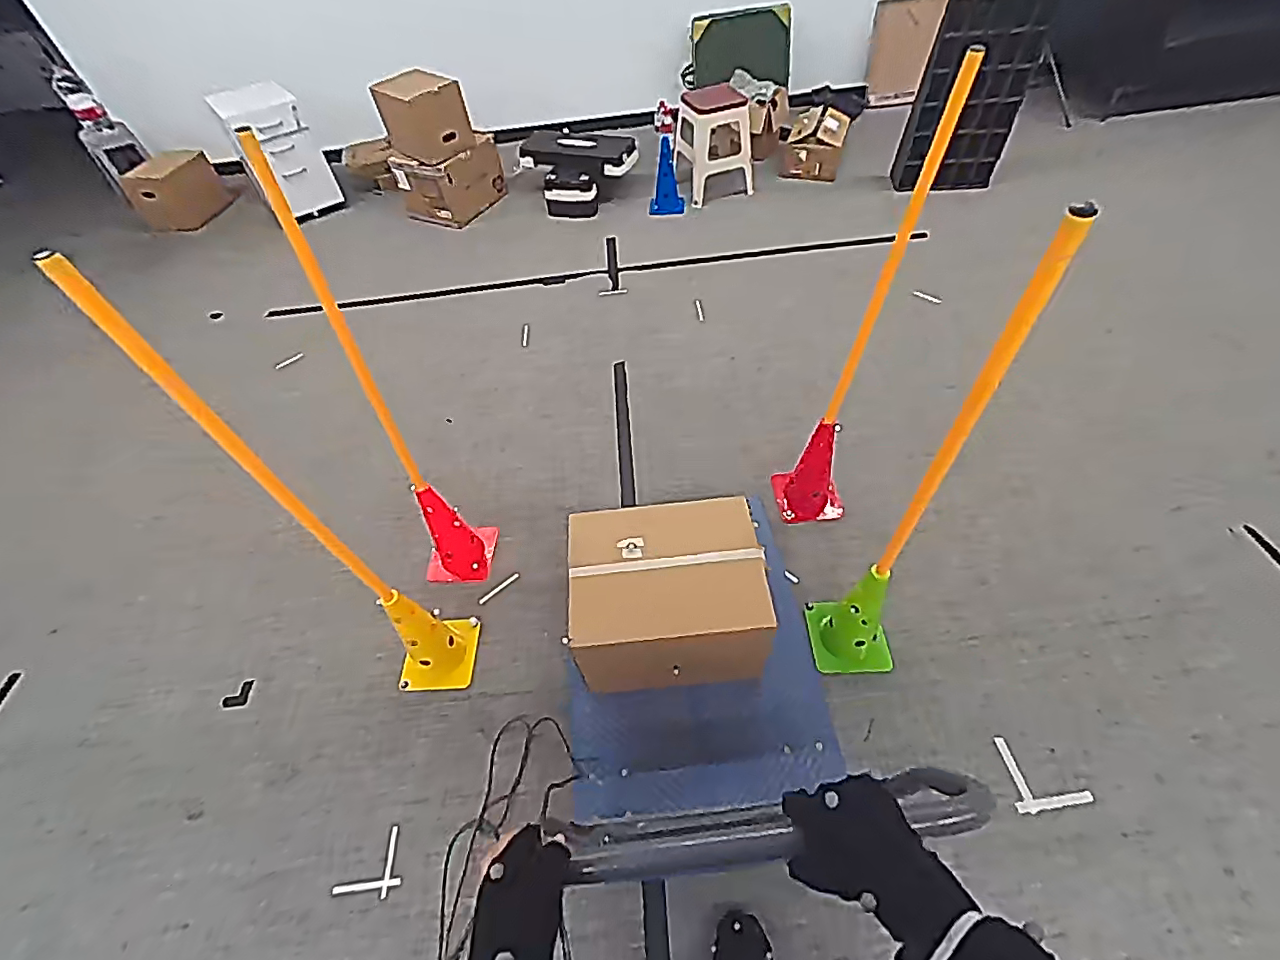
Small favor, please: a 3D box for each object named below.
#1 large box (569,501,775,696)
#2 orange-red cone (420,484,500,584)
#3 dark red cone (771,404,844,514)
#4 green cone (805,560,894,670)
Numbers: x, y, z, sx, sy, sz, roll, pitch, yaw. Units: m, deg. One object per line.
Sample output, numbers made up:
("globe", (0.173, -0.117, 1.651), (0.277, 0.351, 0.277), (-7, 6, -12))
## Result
("large box", (0.066, 0.281, 1.247), (0.408, 0.320, 0.320), (-7, 51, 1))
("orange-red cone", (-0.577, 0.136, 1.618), (0.198, 0.360, 0.199), (0, 50, 5))
("dark red cone", (0.537, -0.075, 1.643), (0.201, 0.394, 0.202), (-5, 51, -1))
("green cone", (0.558, 0.313, 1.352), (0.202, 0.368, 0.200), (-3, 51, 2))
